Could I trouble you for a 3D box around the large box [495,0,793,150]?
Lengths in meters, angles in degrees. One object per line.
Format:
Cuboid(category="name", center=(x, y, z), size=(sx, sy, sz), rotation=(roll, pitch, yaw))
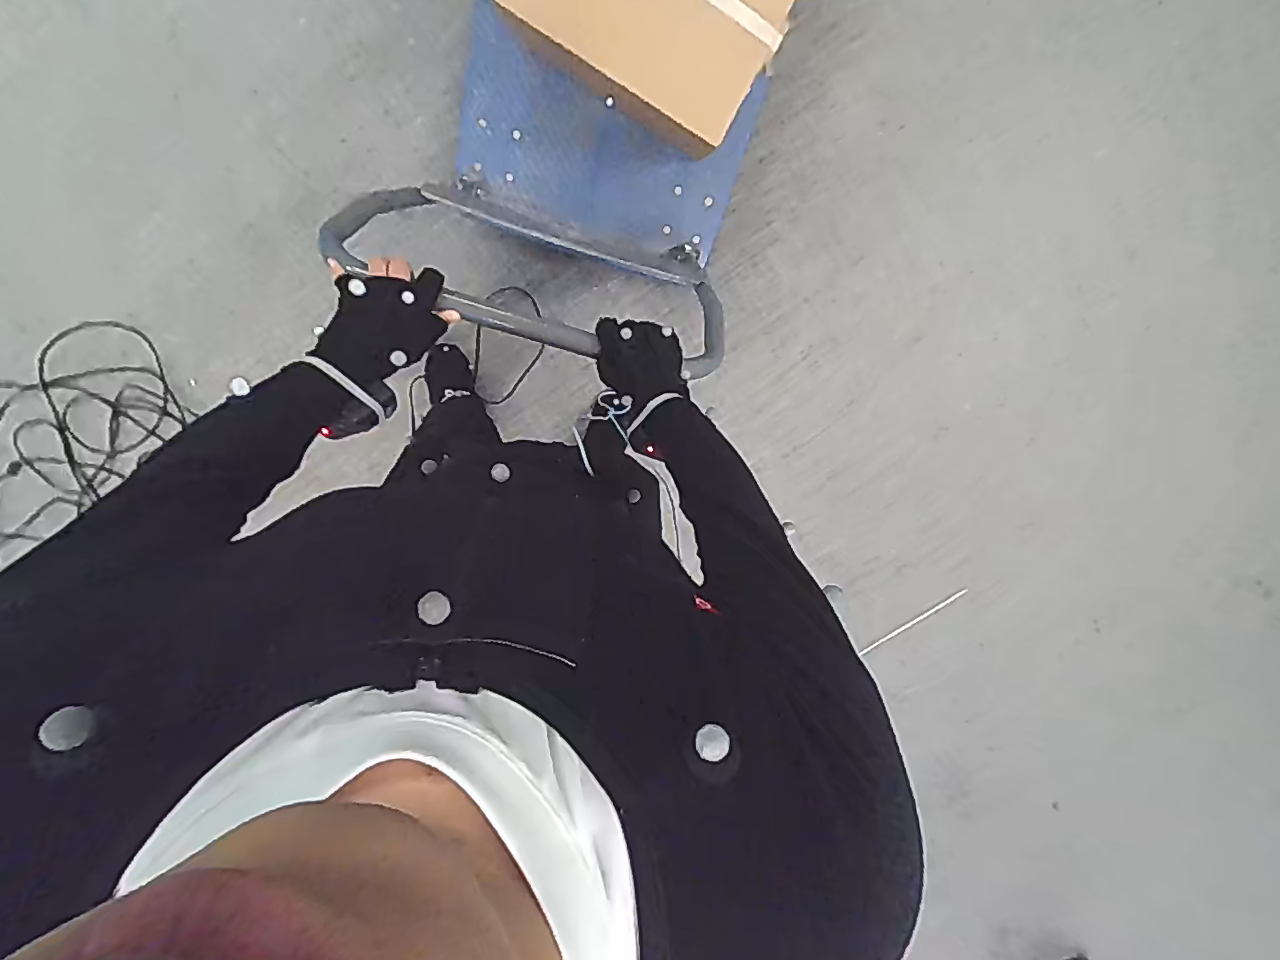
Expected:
Cuboid(category="large box", center=(0.029, -0.811, 0.893), size=(0.408, 0.320, 0.320), rotation=(26, 115, -12))
